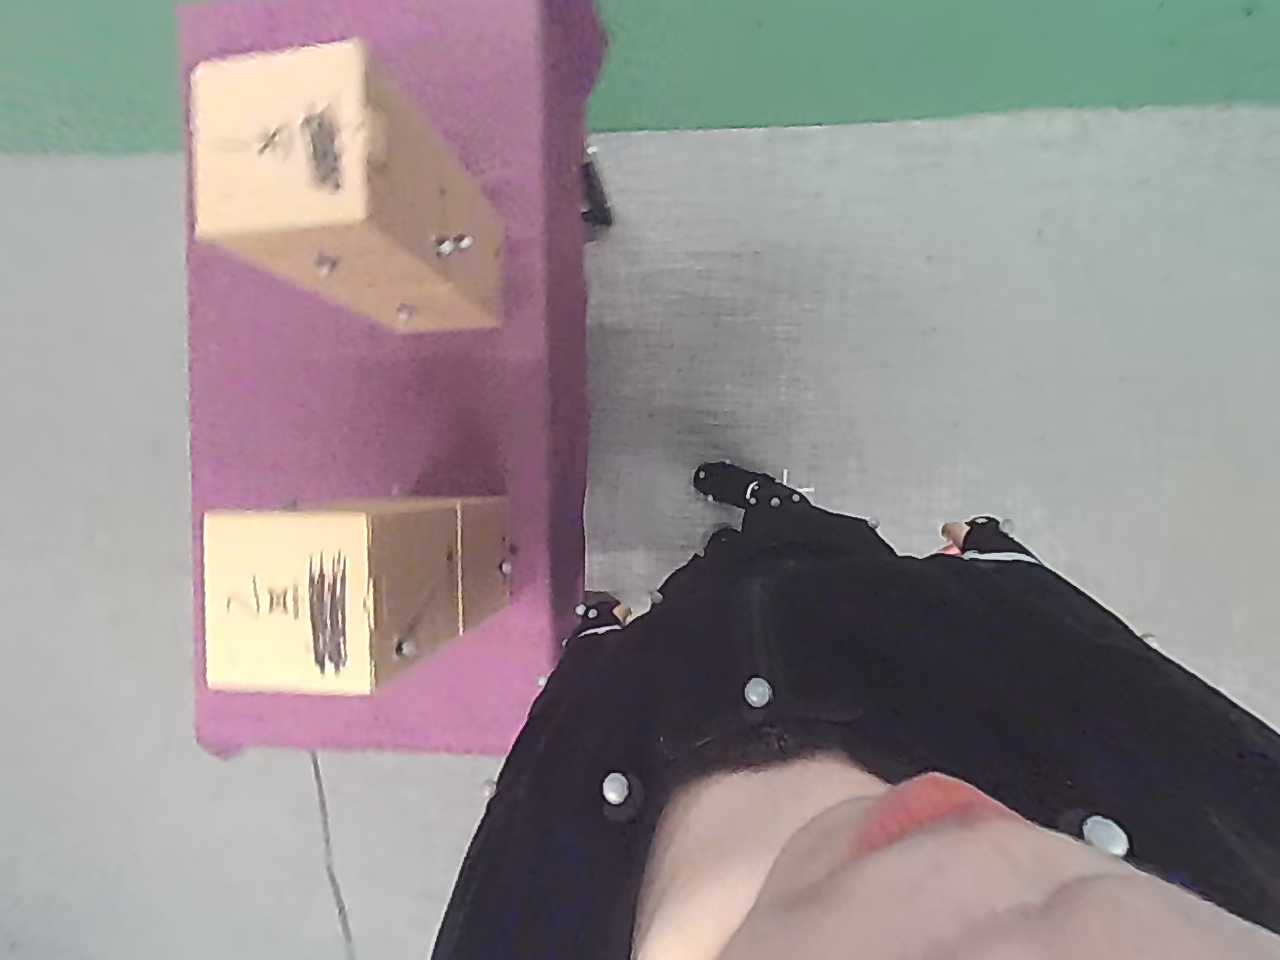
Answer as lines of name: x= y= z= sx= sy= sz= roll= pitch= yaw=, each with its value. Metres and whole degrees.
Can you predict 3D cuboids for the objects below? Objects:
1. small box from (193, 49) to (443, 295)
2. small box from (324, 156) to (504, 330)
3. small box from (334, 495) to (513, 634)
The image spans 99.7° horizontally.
small box: x=-0.328 y=-0.312 z=0.587 sx=0.179 sy=0.176 sz=0.168 roll=-2 pitch=90 yaw=8
small box: x=-0.305 y=-0.312 z=0.750 sx=0.179 sy=0.176 sz=0.168 roll=-2 pitch=91 yaw=9
small box: x=-0.290 y=0.107 z=0.751 sx=0.179 sy=0.176 sz=0.168 roll=-1 pitch=91 yaw=7
